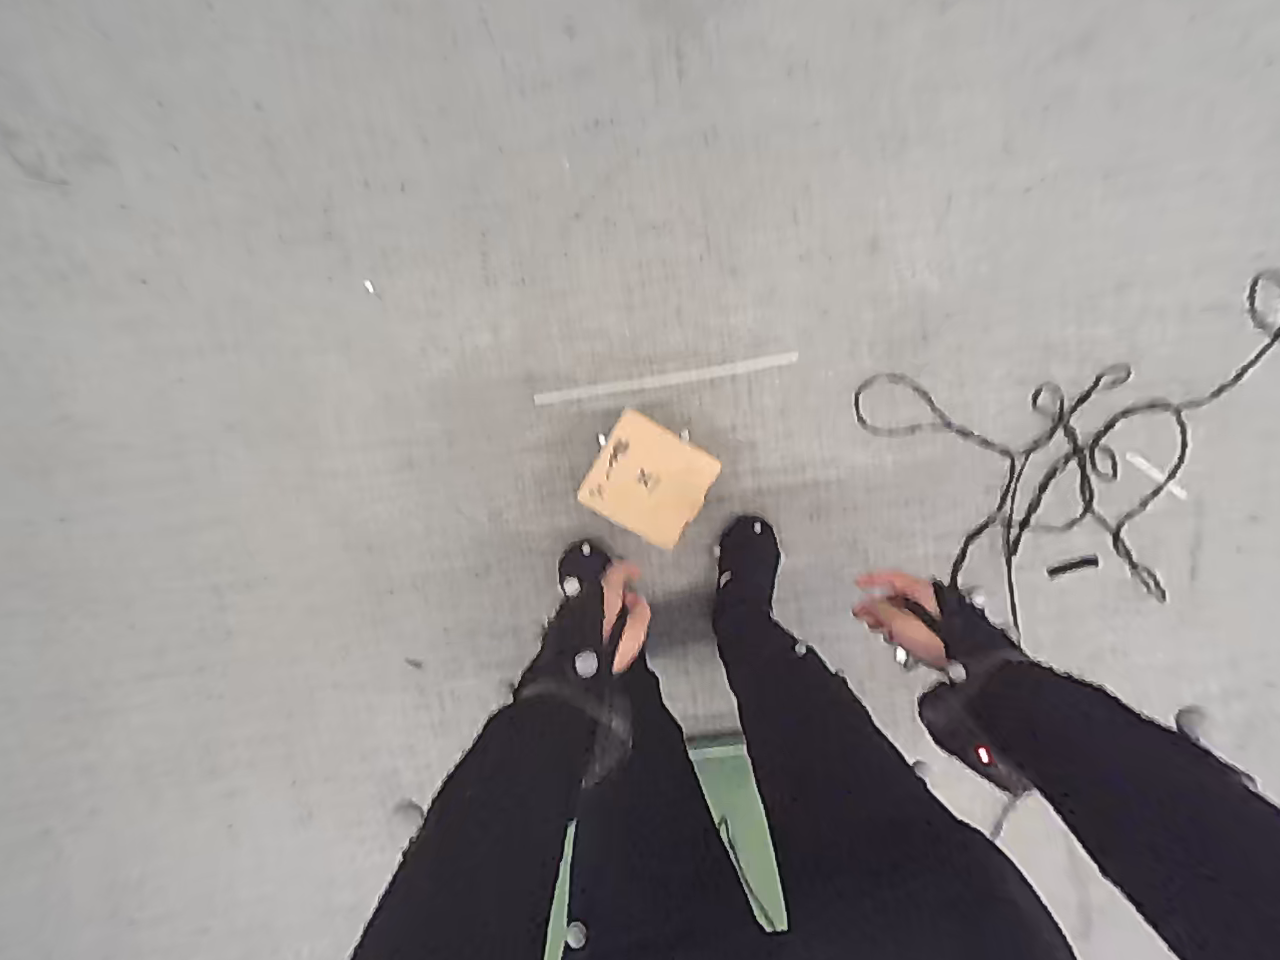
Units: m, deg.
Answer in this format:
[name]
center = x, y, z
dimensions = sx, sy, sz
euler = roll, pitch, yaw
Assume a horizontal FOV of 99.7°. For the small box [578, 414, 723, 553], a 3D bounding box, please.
[small box]
center = 0.018, -0.004, 0.930
dimensions = 0.179, 0.176, 0.168
euler = 31, 97, -3
